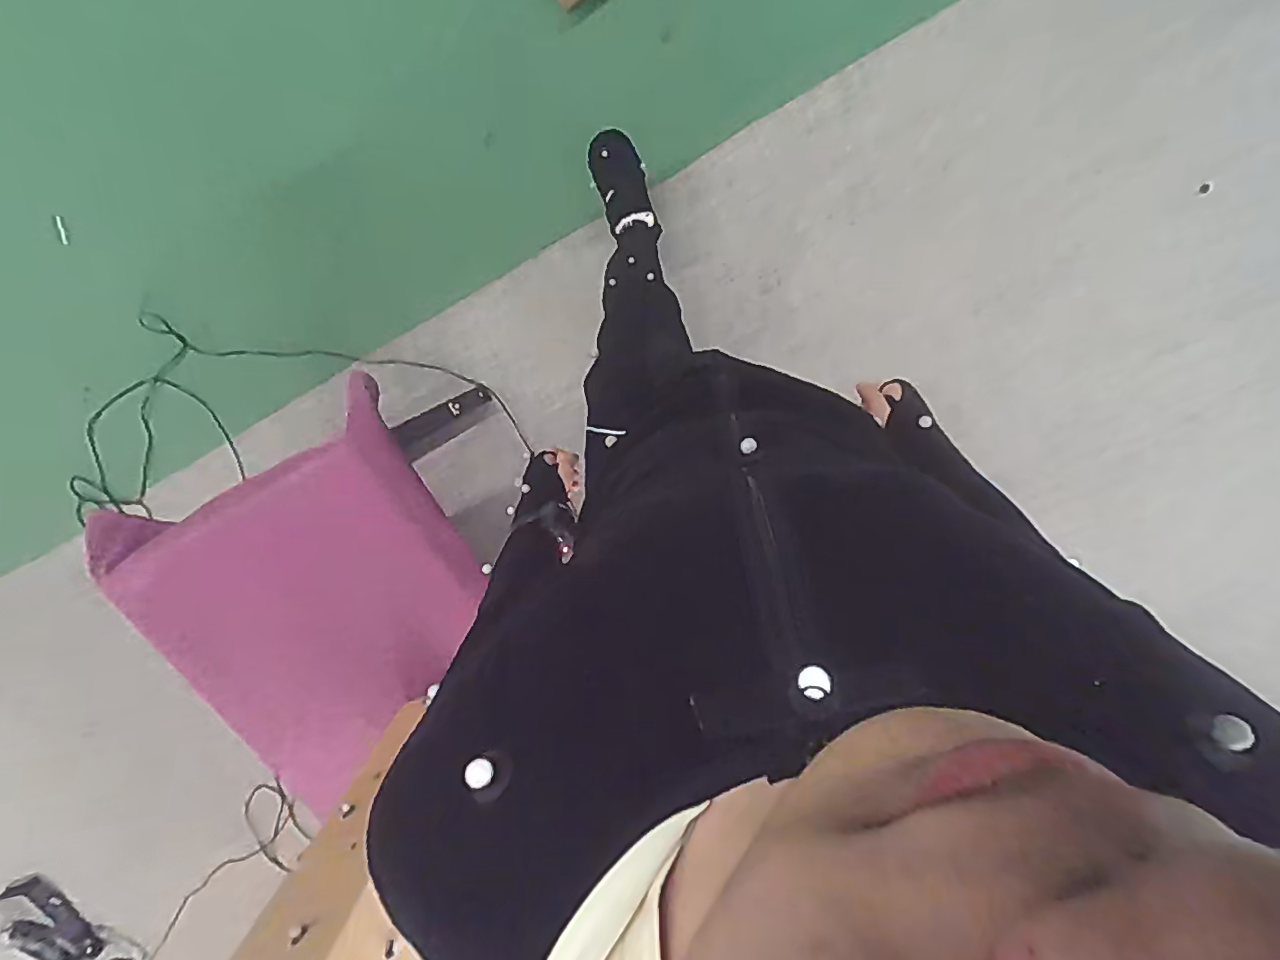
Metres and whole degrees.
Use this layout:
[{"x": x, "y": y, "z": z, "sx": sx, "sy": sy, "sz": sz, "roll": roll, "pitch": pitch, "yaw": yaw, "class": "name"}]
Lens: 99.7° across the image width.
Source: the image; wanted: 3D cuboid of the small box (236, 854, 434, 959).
[{"x": -0.385, "y": 0.610, "z": 0.673, "sx": 0.179, "sy": 0.176, "sz": 0.168, "roll": -22, "pitch": 104, "yaw": 11, "class": "small box"}]

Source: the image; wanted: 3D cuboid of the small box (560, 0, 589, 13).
[{"x": -0.140, "y": -1.190, "z": 1.178, "sx": 0.179, "sy": 0.176, "sz": 0.168, "roll": -29, "pitch": 104, "yaw": 12, "class": "small box"}]

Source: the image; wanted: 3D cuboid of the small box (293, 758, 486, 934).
[{"x": -0.367, "y": 0.558, "z": 0.826, "sx": 0.168, "sy": 0.176, "sz": 0.179, "roll": -22, "pitch": 105, "yaw": 11, "class": "small box"}]
